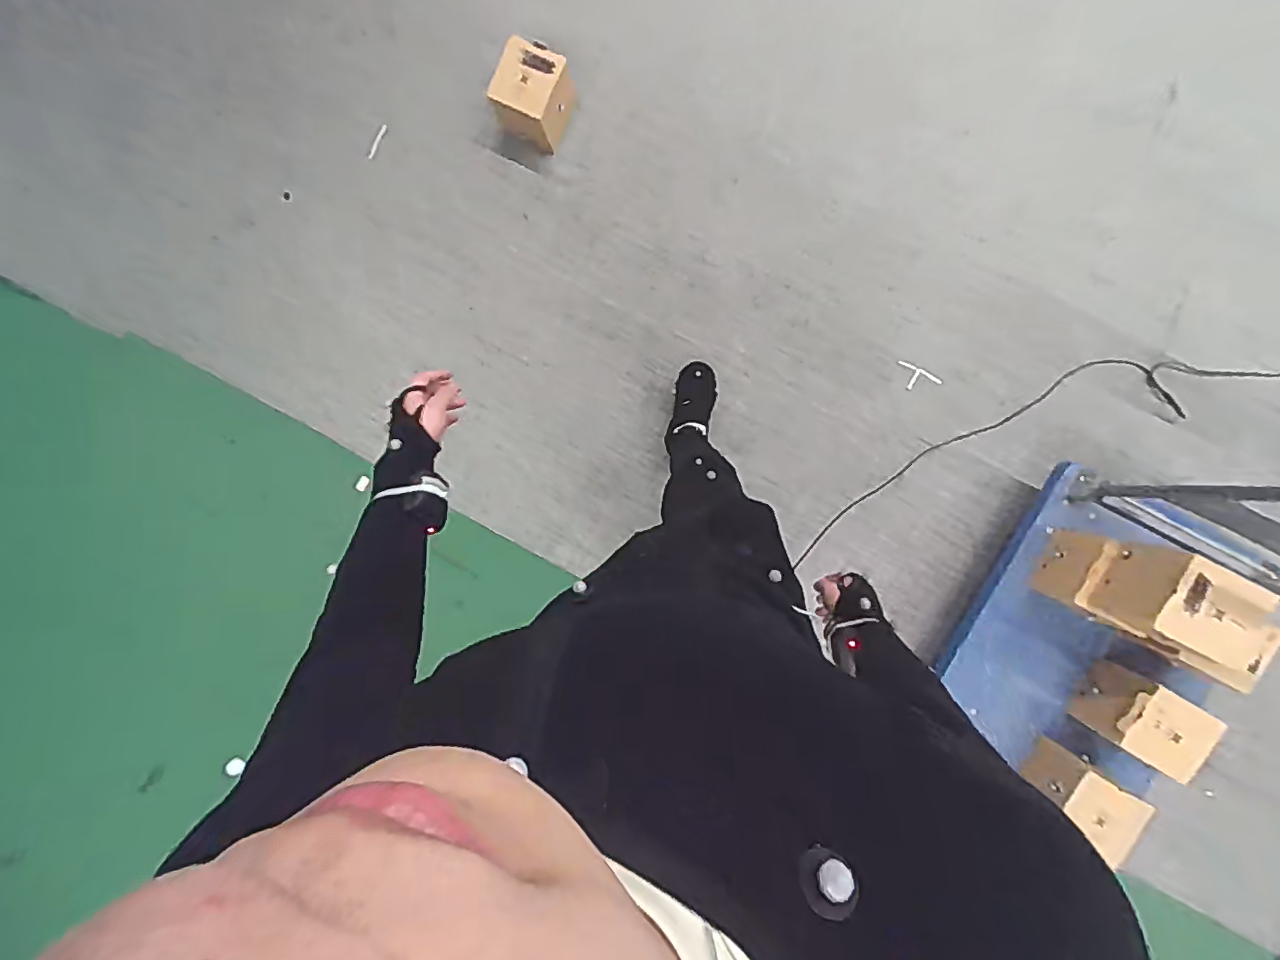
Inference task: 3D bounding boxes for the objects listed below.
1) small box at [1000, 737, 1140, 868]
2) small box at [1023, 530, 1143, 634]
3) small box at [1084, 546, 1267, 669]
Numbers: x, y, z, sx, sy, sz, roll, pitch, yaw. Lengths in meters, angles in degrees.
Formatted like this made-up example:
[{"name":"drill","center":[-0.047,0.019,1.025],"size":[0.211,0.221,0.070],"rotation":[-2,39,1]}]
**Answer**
[{"name":"small box","center":[1.020,0.763,1.302],"size":[0.168,0.176,0.179],"rotation":[30,94,3]},{"name":"small box","center":[1.074,0.233,1.286],"size":[0.179,0.176,0.168],"rotation":[-31,88,4]},{"name":"small box","center":[1.083,0.249,1.113],"size":[0.179,0.176,0.168],"rotation":[29,95,2]}]
